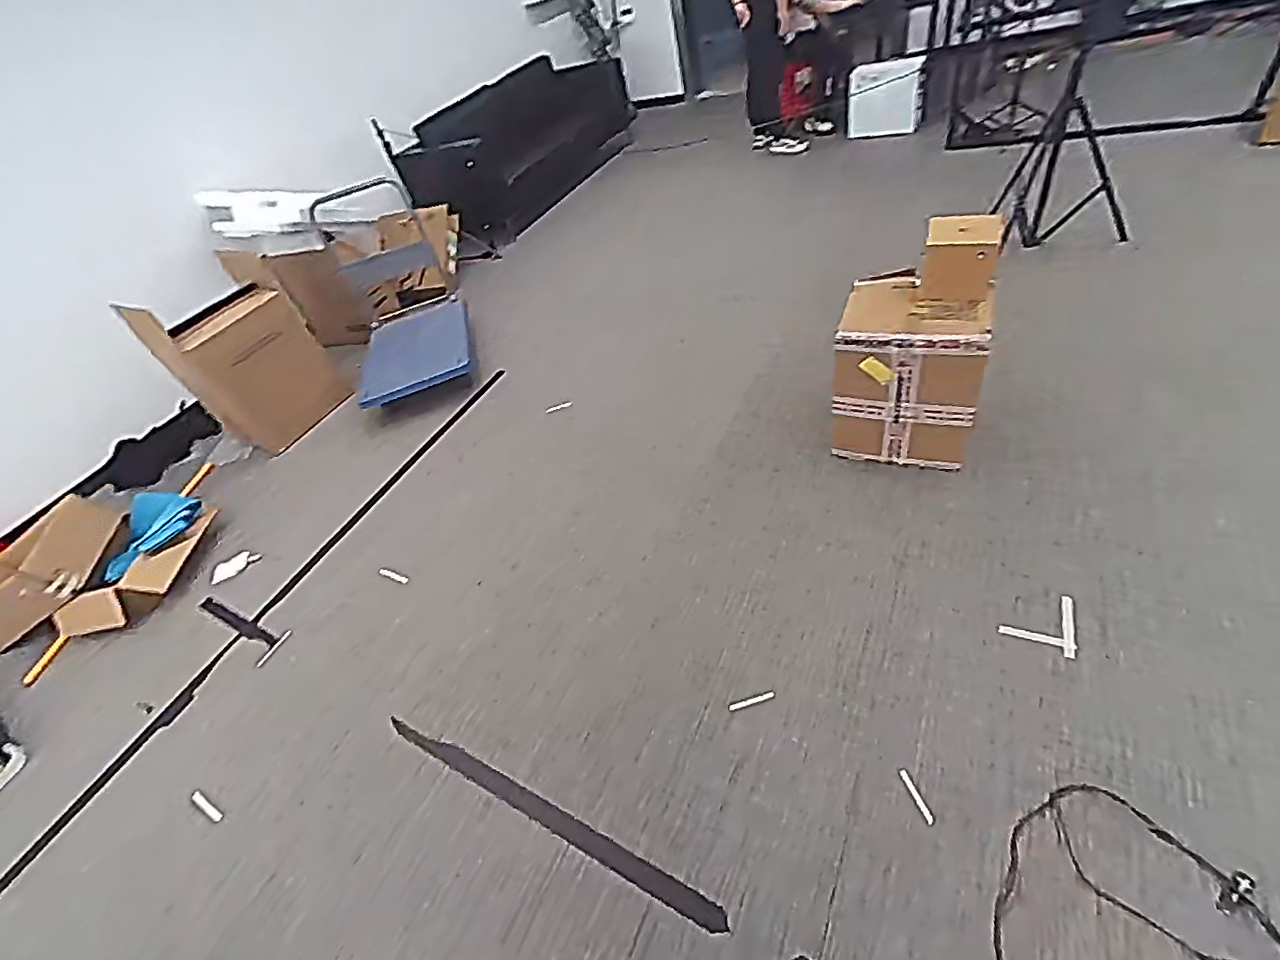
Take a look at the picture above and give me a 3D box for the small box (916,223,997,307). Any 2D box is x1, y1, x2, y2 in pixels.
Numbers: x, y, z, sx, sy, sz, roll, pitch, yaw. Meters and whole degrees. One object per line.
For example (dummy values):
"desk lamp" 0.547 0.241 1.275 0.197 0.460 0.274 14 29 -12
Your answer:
"small box" 0.898 -0.610 1.541 0.179 0.176 0.168 9 52 23
